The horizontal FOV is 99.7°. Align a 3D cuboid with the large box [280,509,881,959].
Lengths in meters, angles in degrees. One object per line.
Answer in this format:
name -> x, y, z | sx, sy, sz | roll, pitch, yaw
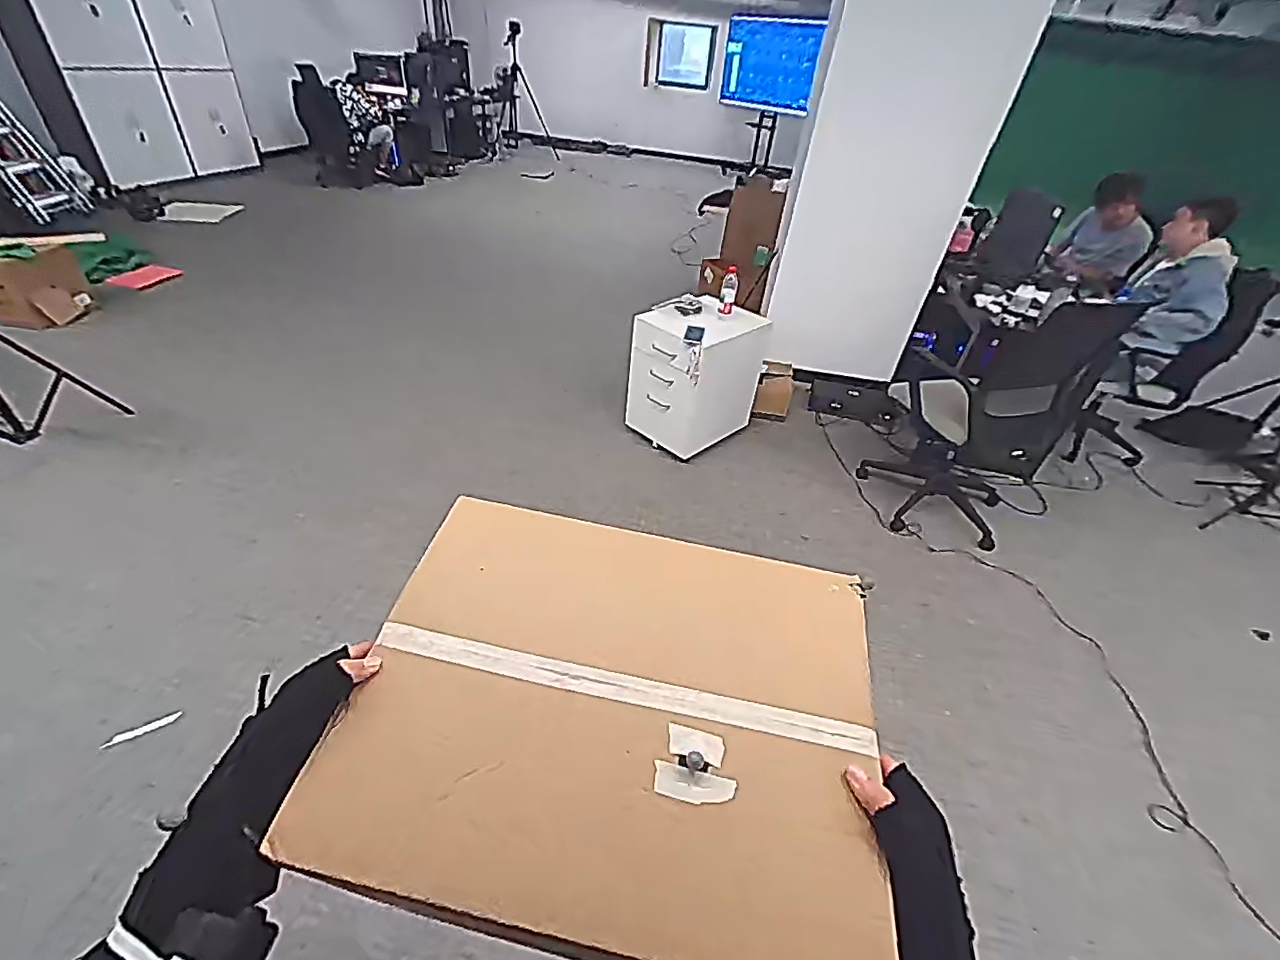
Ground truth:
large box -> -0.032, 0.273, 0.551 | 0.408, 0.320, 0.320 | 11, 48, 4
